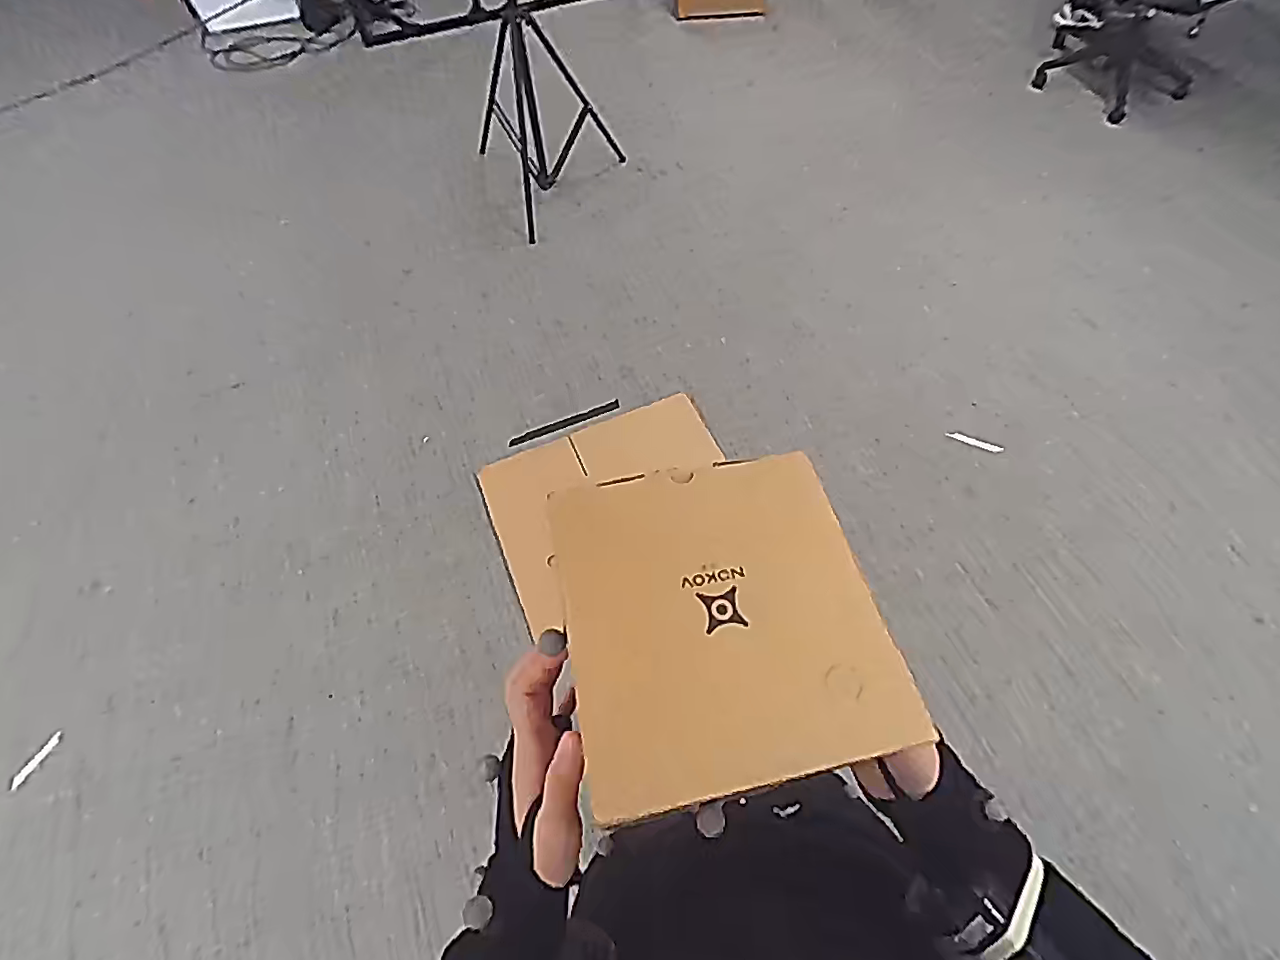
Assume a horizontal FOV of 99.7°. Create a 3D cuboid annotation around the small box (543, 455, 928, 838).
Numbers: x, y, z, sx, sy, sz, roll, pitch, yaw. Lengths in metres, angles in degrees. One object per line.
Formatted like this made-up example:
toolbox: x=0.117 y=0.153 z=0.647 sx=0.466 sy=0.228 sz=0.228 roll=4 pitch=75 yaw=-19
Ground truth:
small box: x=0.038 y=0.112 z=0.351 sx=0.168 sy=0.176 sz=0.179 roll=-10 pitch=57 yaw=-8
